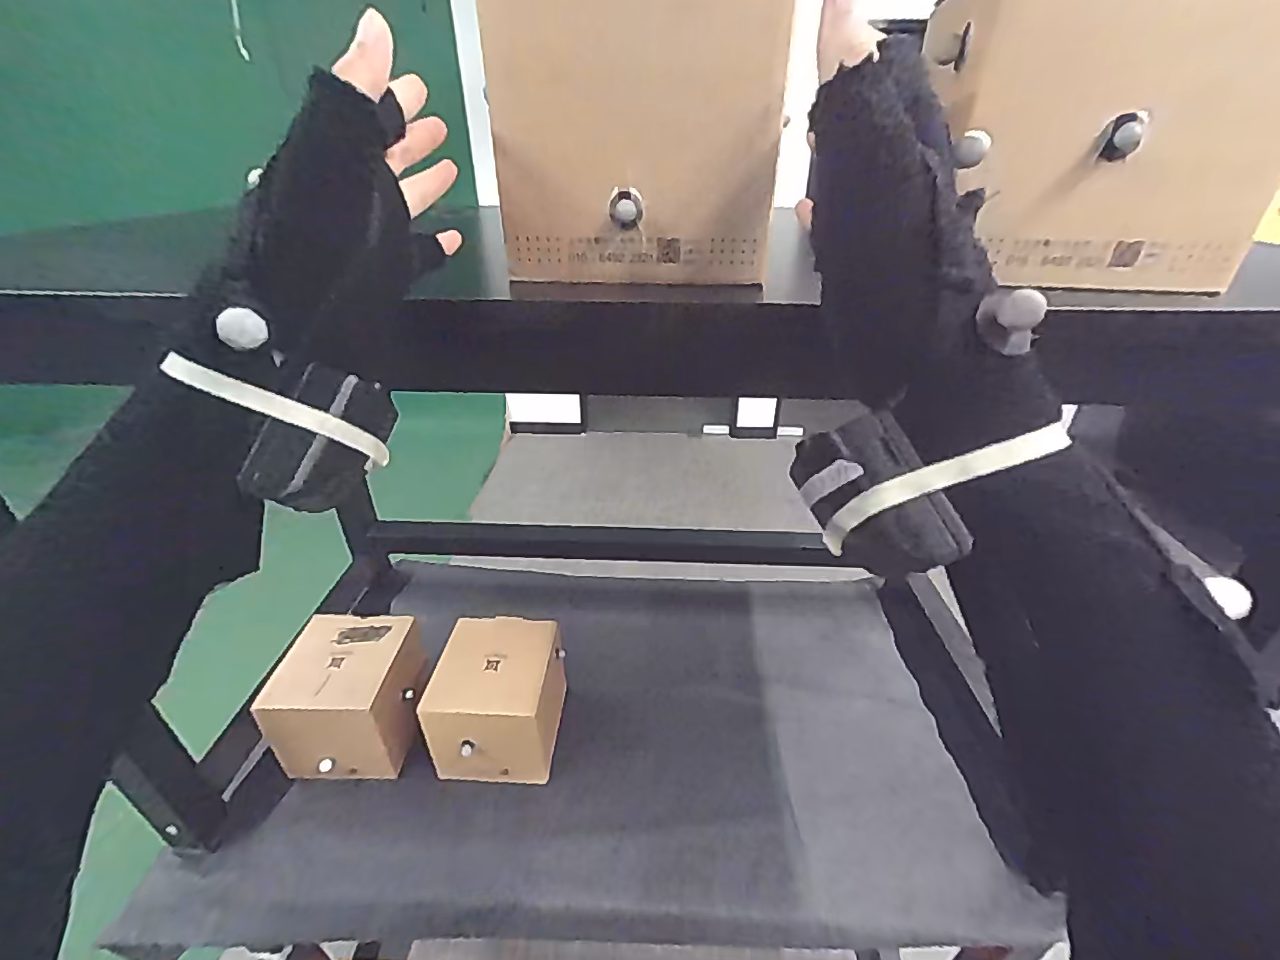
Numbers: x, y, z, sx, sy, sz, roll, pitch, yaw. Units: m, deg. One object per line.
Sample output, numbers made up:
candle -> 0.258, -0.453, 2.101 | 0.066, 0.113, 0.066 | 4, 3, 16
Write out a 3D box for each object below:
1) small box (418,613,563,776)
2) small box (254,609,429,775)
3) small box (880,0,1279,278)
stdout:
small box -> -0.216, 0.330, 0.839 | 0.168, 0.176, 0.179 | 2, 30, 2
small box -> -0.443, 0.325, 0.842 | 0.168, 0.176, 0.179 | 0, 31, 0
small box -> 0.276, -0.238, 0.363 | 0.168, 0.176, 0.179 | 6, 31, 10
